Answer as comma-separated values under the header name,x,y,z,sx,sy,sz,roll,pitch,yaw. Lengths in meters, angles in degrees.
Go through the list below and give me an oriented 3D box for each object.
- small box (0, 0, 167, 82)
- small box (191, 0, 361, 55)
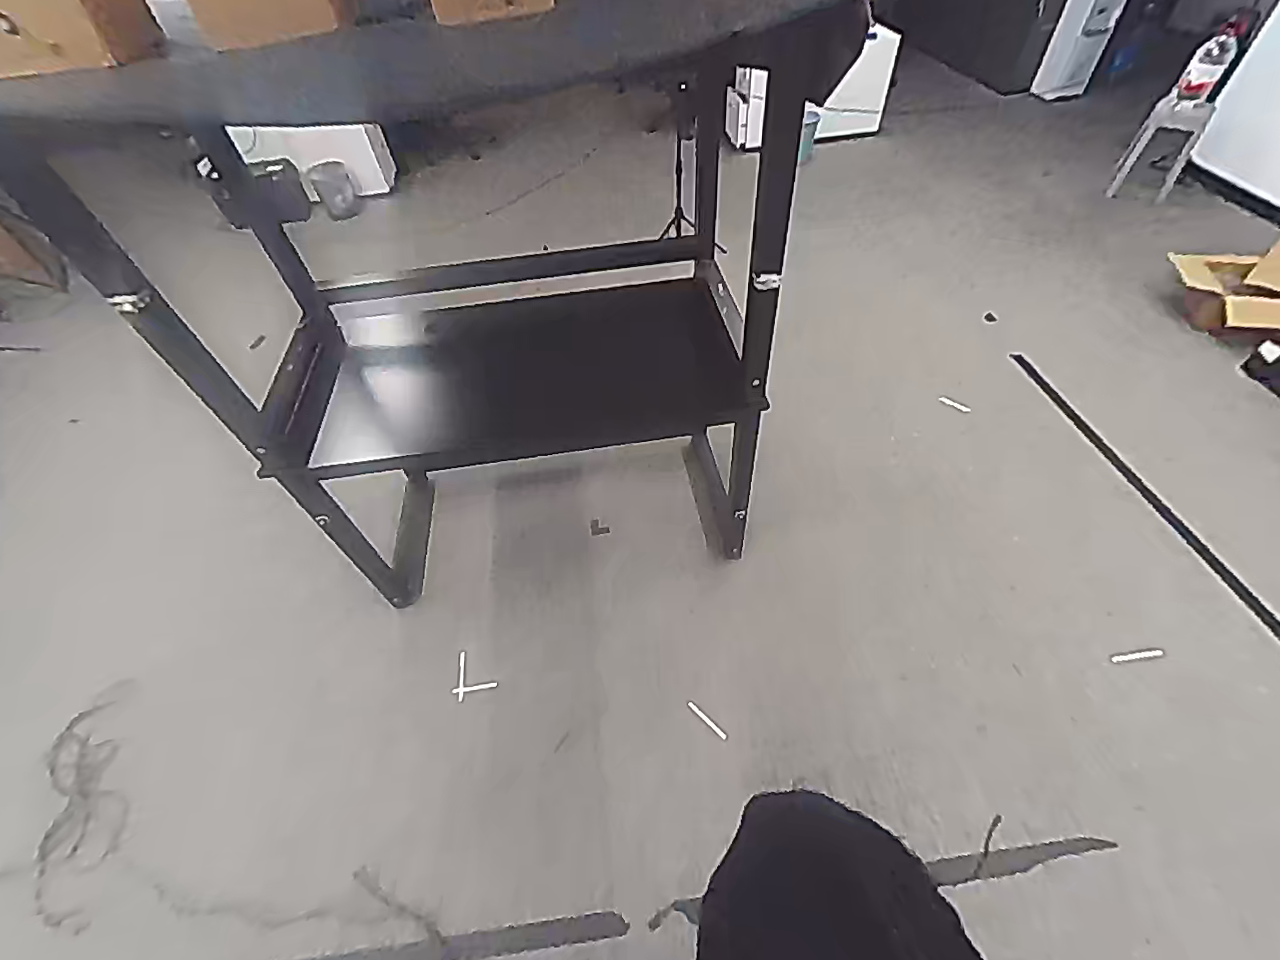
name,x,y,z,sx,sy,sz,roll,pitch,yaw
small box,-0.786,-0.651,0.714,0.168,0.176,0.179,-11,51,-5
small box,-0.508,-0.703,0.736,0.179,0.176,0.168,-9,47,-6
